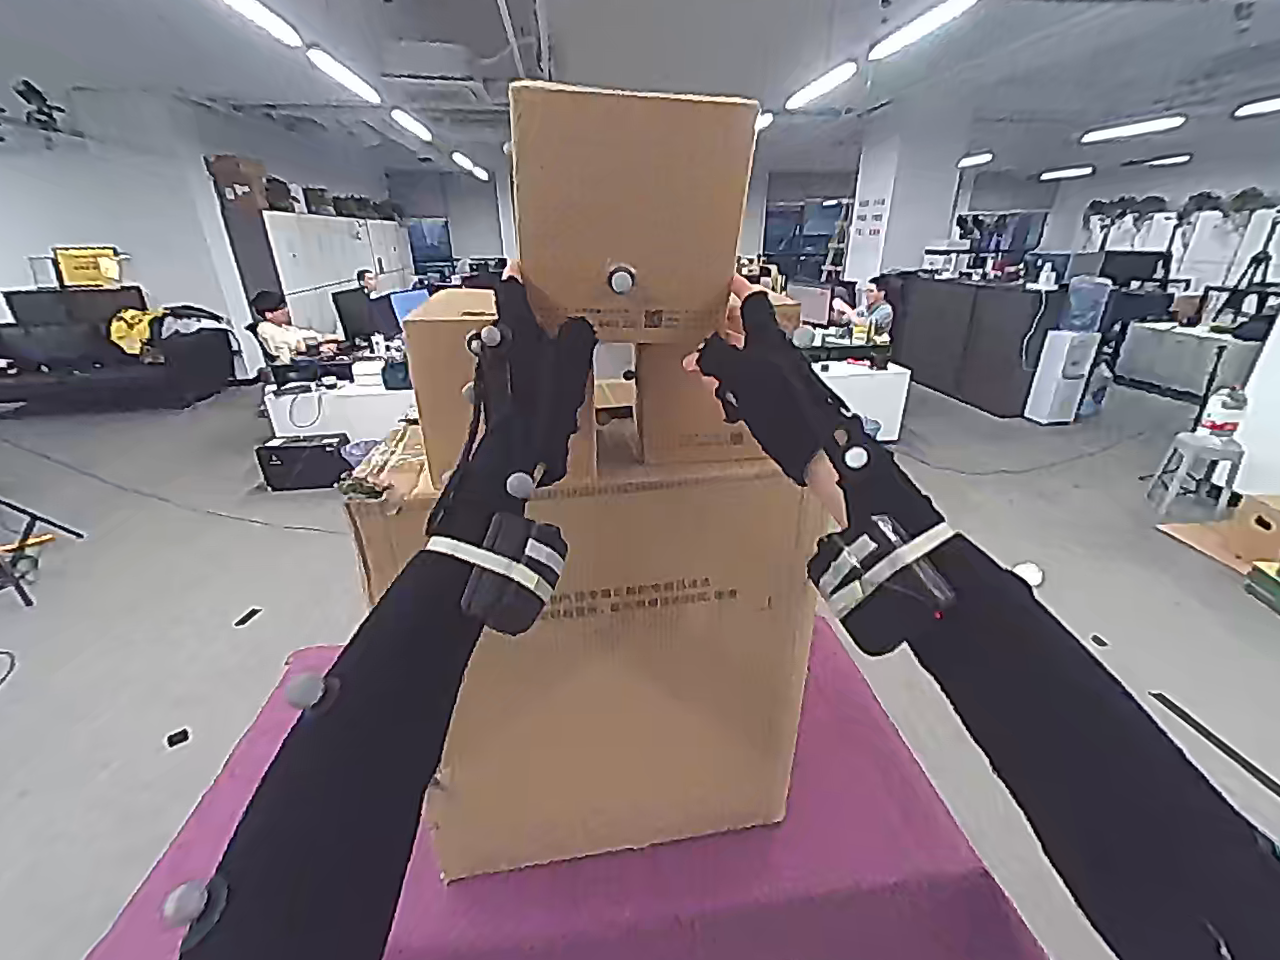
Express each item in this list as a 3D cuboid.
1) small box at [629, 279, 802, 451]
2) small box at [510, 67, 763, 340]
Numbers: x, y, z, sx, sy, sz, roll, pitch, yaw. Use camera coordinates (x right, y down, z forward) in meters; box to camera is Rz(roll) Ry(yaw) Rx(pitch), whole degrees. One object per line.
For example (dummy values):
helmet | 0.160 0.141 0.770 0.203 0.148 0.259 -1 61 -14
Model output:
small box | 0.075 -0.137 0.633 0.168 0.176 0.179 -3 24 -5
small box | -0.014 -0.231 0.455 0.168 0.176 0.179 -1 36 -7
